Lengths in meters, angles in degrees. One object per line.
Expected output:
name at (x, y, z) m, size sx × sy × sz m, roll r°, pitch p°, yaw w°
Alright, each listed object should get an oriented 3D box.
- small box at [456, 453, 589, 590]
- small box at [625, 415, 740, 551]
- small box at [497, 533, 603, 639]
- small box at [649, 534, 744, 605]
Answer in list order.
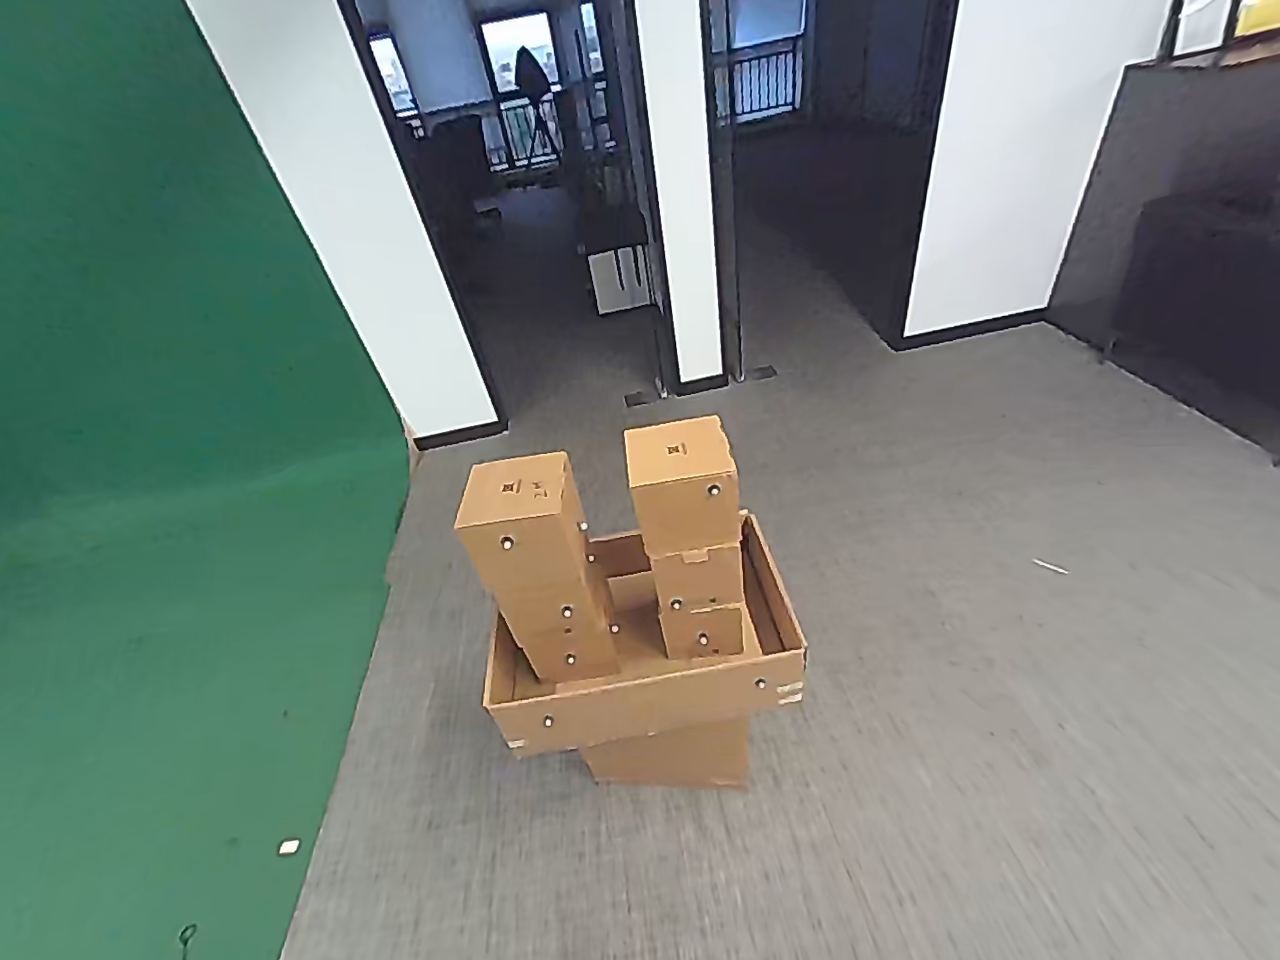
small box at (-0.198, 0.078, 0.962) m, size 0.179 × 0.176 × 0.168 m, roll -9°, pitch 40°, yaw 4°
small box at (0.076, 0.009, 0.974) m, size 0.179 × 0.176 × 0.168 m, roll -10°, pitch 39°, yaw 3°
small box at (-0.170, 0.198, 1.073) m, size 0.168 × 0.176 × 0.179 m, roll -11°, pitch 39°, yaw 2°
small box at (0.109, 0.132, 1.075) m, size 0.168 × 0.176 × 0.179 m, roll -10°, pitch 39°, yaw 4°
